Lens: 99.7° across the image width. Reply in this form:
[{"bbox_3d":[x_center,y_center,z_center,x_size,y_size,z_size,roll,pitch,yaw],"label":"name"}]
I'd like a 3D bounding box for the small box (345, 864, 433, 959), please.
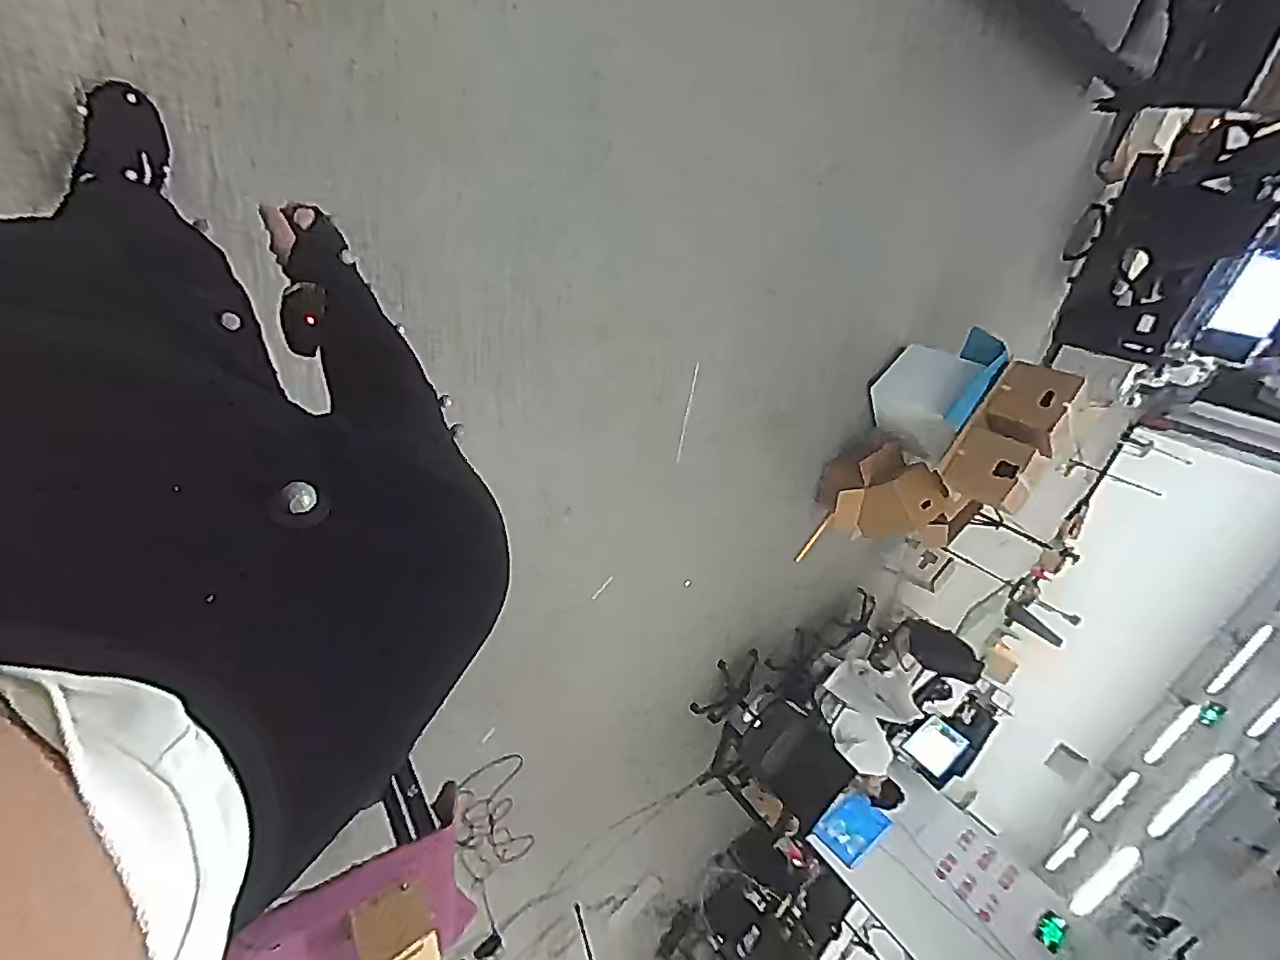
[{"bbox_3d":[-0.658,1.160,1.417,0.168,0.176,0.179,-16,130,-34],"label":"small box"}]
